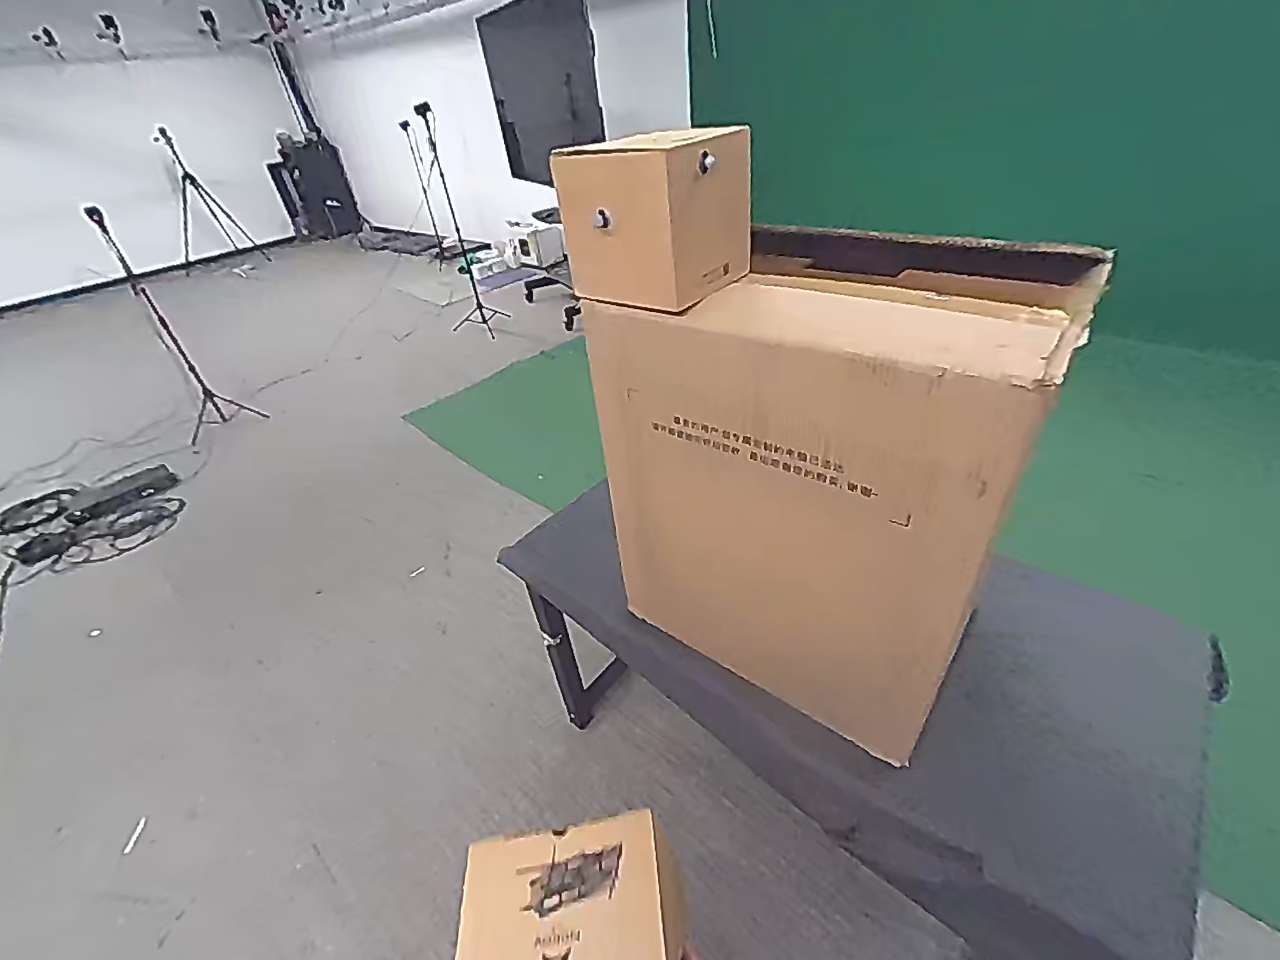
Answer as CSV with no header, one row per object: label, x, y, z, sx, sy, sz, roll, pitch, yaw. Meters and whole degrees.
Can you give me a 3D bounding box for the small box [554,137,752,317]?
small box,0.022,-0.315,0.675,0.179,0.176,0.168,22,46,35
